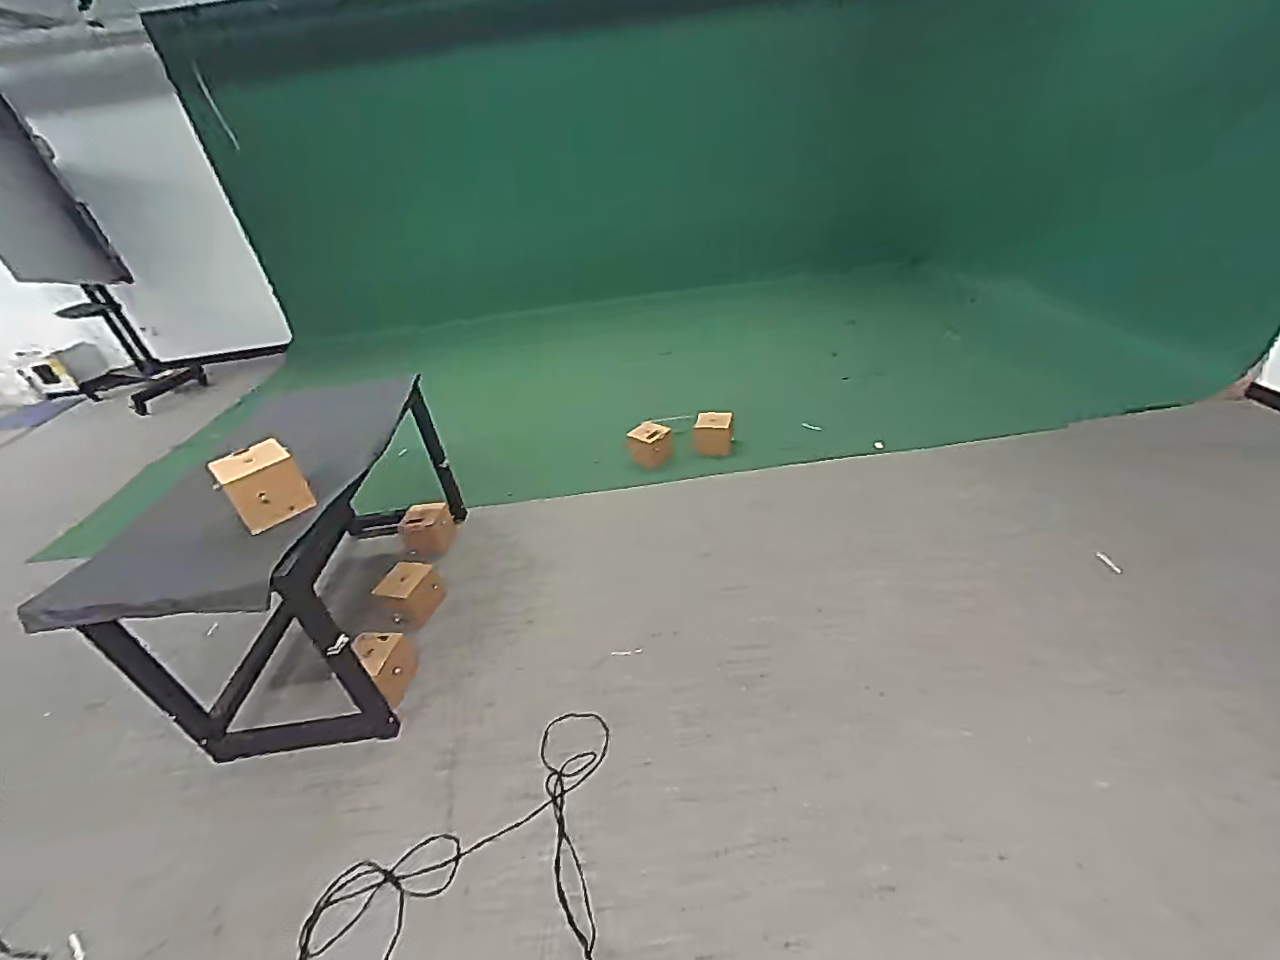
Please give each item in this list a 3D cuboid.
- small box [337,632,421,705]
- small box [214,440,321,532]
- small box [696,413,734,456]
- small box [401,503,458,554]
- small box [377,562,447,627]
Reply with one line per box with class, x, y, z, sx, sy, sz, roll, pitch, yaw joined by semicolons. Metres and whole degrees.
small box;-0.878;0.644;1.841;0.168;0.176;0.179;-1;36;11
small box;-1.018;0.019;1.487;0.179;0.176;0.168;24;46;39
small box;0.401;-0.241;2.856;0.179;0.176;0.168;4;36;16
small box;-0.951;0.227;2.462;0.168;0.176;0.179;-4;33;5
small box;-0.887;0.449;2.127;0.168;0.176;0.179;3;37;18
